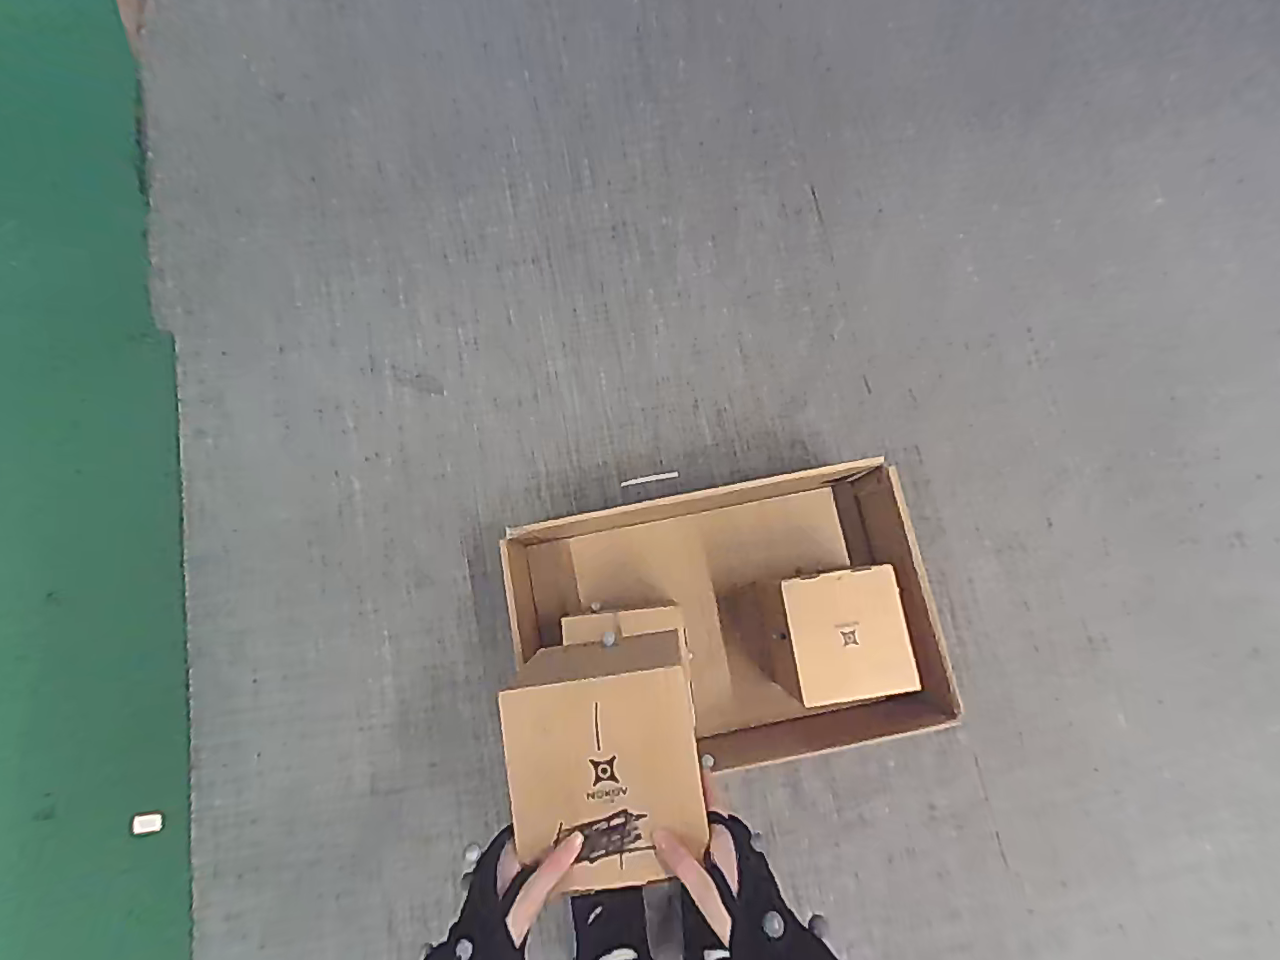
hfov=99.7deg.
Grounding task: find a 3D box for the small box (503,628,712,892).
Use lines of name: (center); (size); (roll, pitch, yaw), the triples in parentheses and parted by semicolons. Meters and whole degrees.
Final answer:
small box: (-0.025, 0.263, 0.547); (0.168, 0.176, 0.179); (-9, 85, 2)
